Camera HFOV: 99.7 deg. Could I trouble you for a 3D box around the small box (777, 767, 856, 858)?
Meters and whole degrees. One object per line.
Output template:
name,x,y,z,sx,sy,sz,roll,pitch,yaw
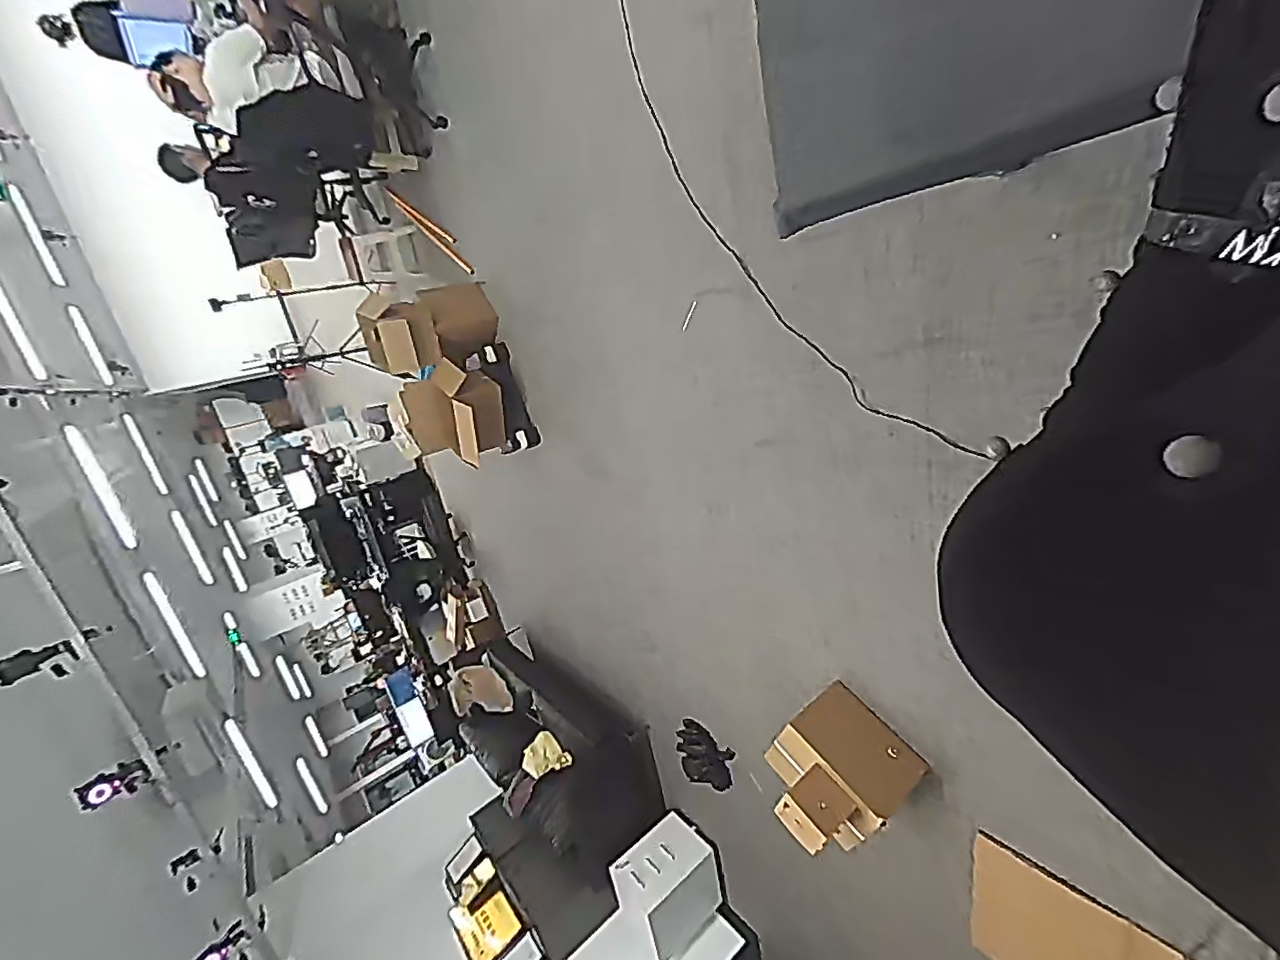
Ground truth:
small box,0.605,1.131,1.846,0.179,0.176,0.168,39,140,37
